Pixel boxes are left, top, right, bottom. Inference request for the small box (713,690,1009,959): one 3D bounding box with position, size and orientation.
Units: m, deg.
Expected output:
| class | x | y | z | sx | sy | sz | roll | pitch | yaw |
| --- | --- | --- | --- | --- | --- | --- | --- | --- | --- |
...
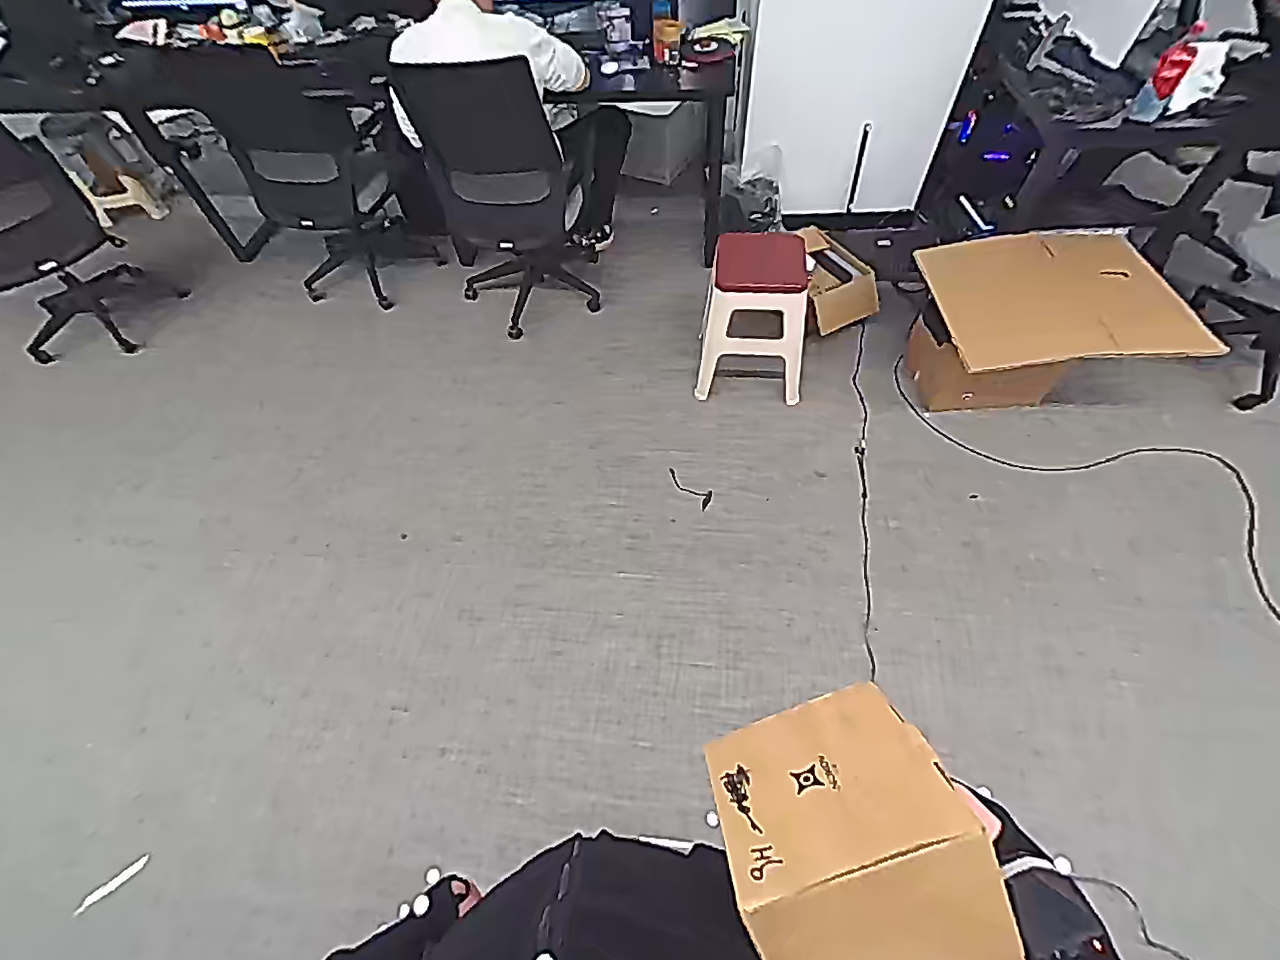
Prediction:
| class | x | y | z | sx | sy | sz | roll | pitch | yaw |
| --- | --- | --- | --- | --- | --- | --- | --- | --- | --- |
| small box | 0.183 | 0.326 | 0.471 | 0.179 | 0.176 | 0.168 | -21 | 12 | 3 |
